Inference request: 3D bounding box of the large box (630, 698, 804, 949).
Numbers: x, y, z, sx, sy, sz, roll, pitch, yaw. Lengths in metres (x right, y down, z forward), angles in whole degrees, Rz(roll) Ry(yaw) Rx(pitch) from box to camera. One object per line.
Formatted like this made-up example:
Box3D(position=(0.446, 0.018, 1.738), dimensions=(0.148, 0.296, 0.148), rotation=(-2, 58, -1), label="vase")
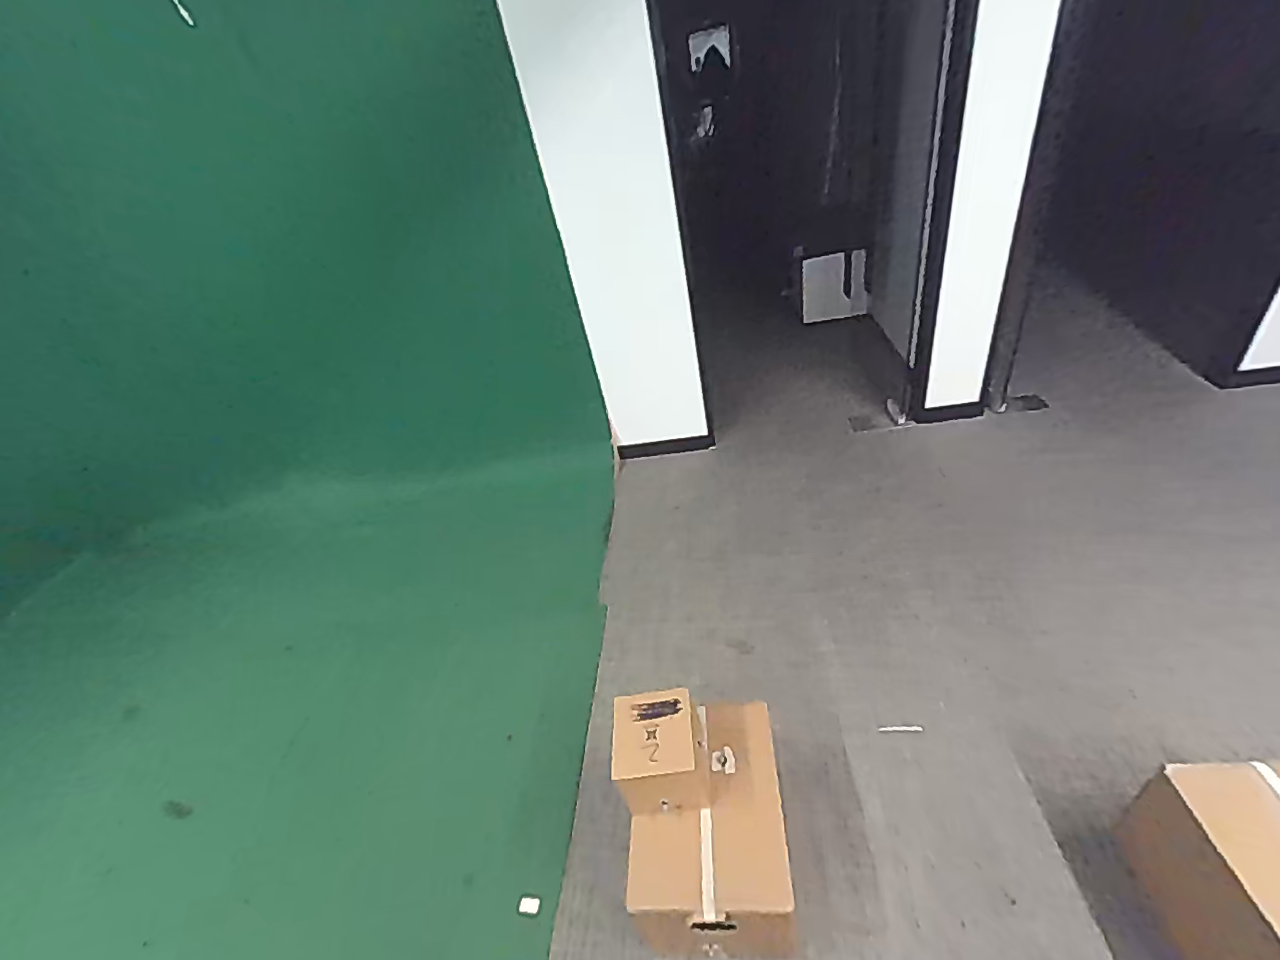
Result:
Box3D(position=(0.173, 0.773, 1.232), dimensions=(0.320, 0.320, 0.408), rotation=(-8, 36, 10), label="large box")
